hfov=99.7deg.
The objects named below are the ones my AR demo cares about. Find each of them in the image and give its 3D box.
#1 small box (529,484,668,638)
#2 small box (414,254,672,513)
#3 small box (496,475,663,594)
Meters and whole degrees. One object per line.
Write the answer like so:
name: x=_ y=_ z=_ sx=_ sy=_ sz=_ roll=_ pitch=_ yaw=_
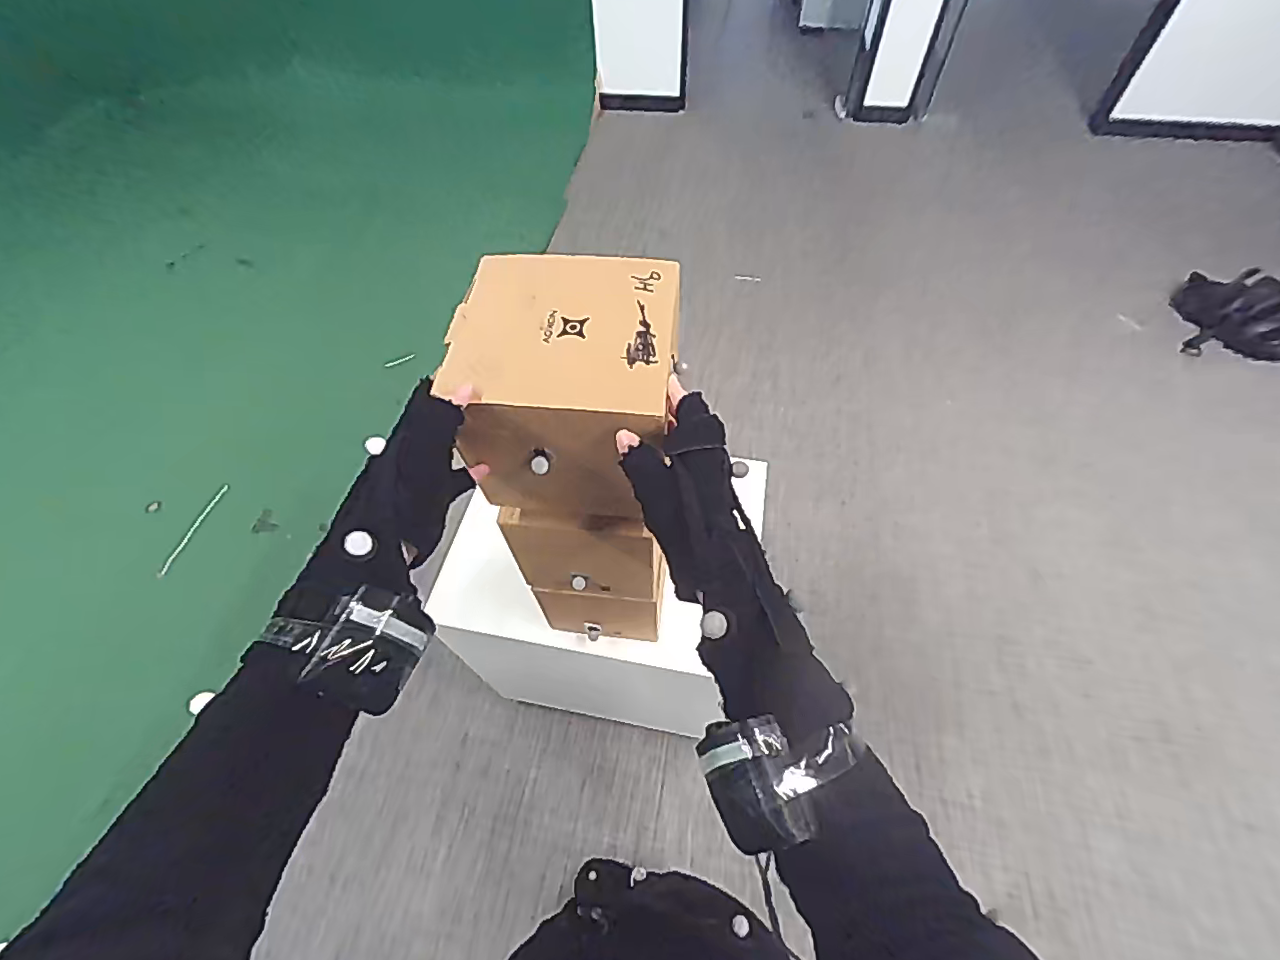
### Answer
small box: x=-0.048 y=0.115 z=0.791 sx=0.168 sy=0.176 sz=0.179 roll=4 pitch=58 yaw=6
small box: x=-0.066 y=-0.080 z=0.492 sx=0.179 sy=0.176 sz=0.168 roll=3 pitch=60 yaw=6
small box: x=-0.058 y=0.020 z=0.657 sx=0.168 sy=0.176 sz=0.179 roll=2 pitch=55 yaw=5
